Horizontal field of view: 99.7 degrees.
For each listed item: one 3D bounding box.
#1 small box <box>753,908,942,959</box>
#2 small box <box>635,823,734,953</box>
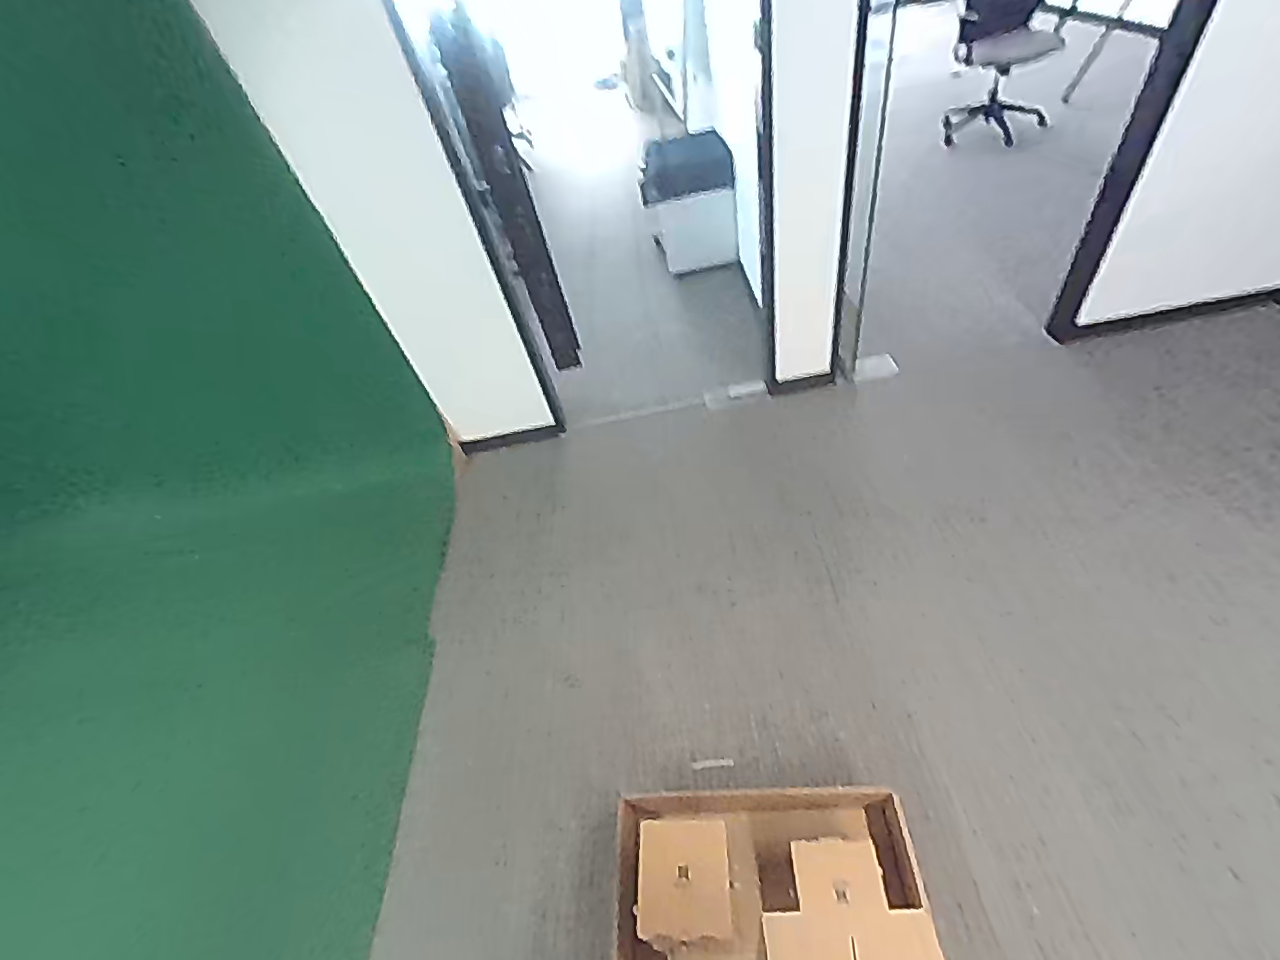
[{"bbox_3d":[0.200,0.534,0.498,0.168,0.176,0.179,-3,32,2],"label":"small box"},{"bbox_3d":[0.087,0.772,1.025,0.168,0.176,0.179,-5,46,8],"label":"small box"}]
